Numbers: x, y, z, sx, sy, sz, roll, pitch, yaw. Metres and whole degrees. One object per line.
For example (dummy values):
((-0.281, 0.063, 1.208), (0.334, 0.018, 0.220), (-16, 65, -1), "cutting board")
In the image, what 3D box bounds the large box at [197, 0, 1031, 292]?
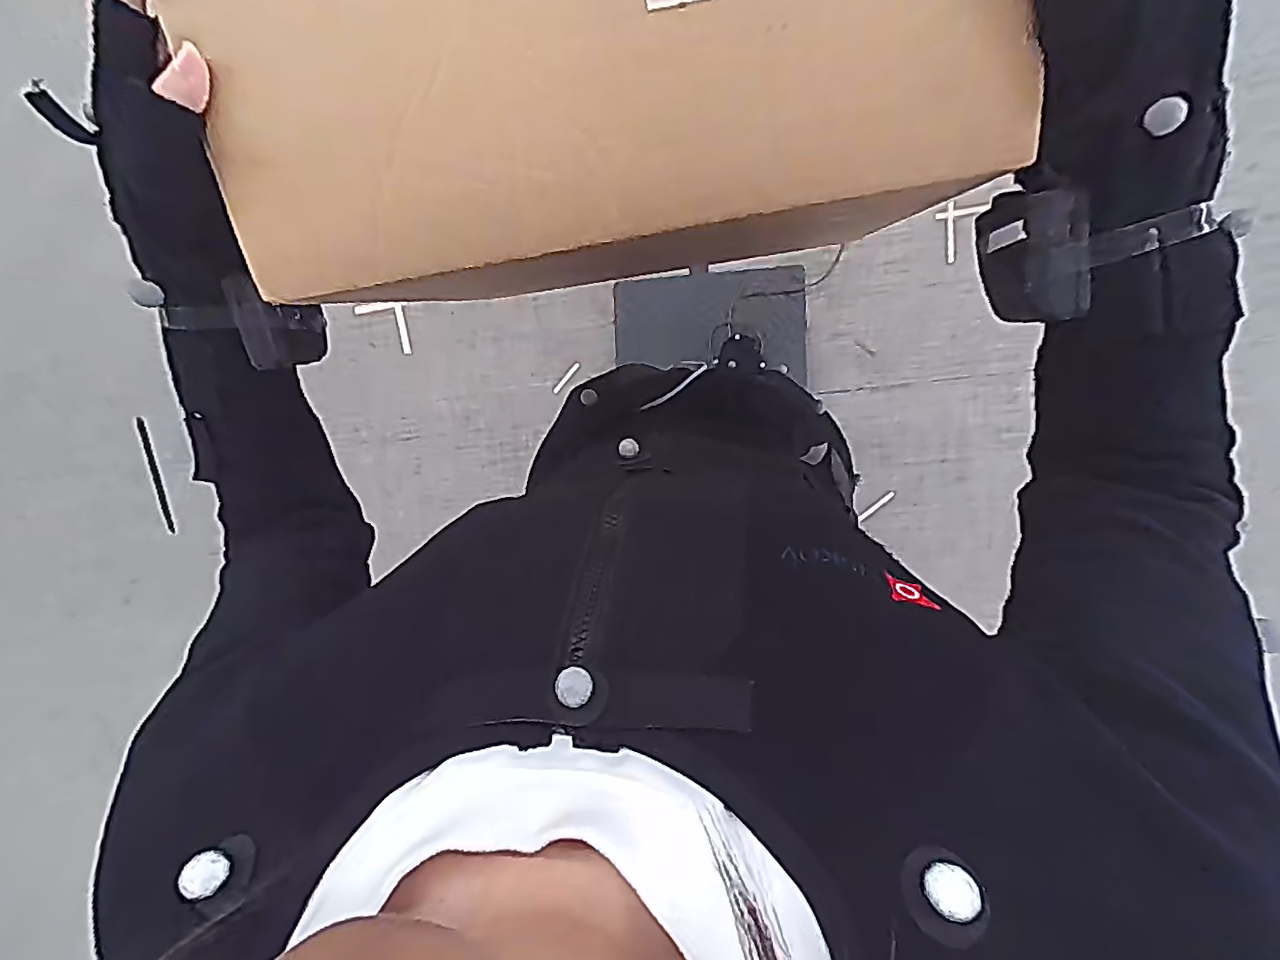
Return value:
((-0.019, -0.329, 0.384), (0.408, 0.320, 0.320), (-6, 108, 10), "large box")

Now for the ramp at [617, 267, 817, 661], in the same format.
((0.191, -0.031, 1.408), (0.509, 0.206, 0.991), (-3, 100, 11), "ramp")
